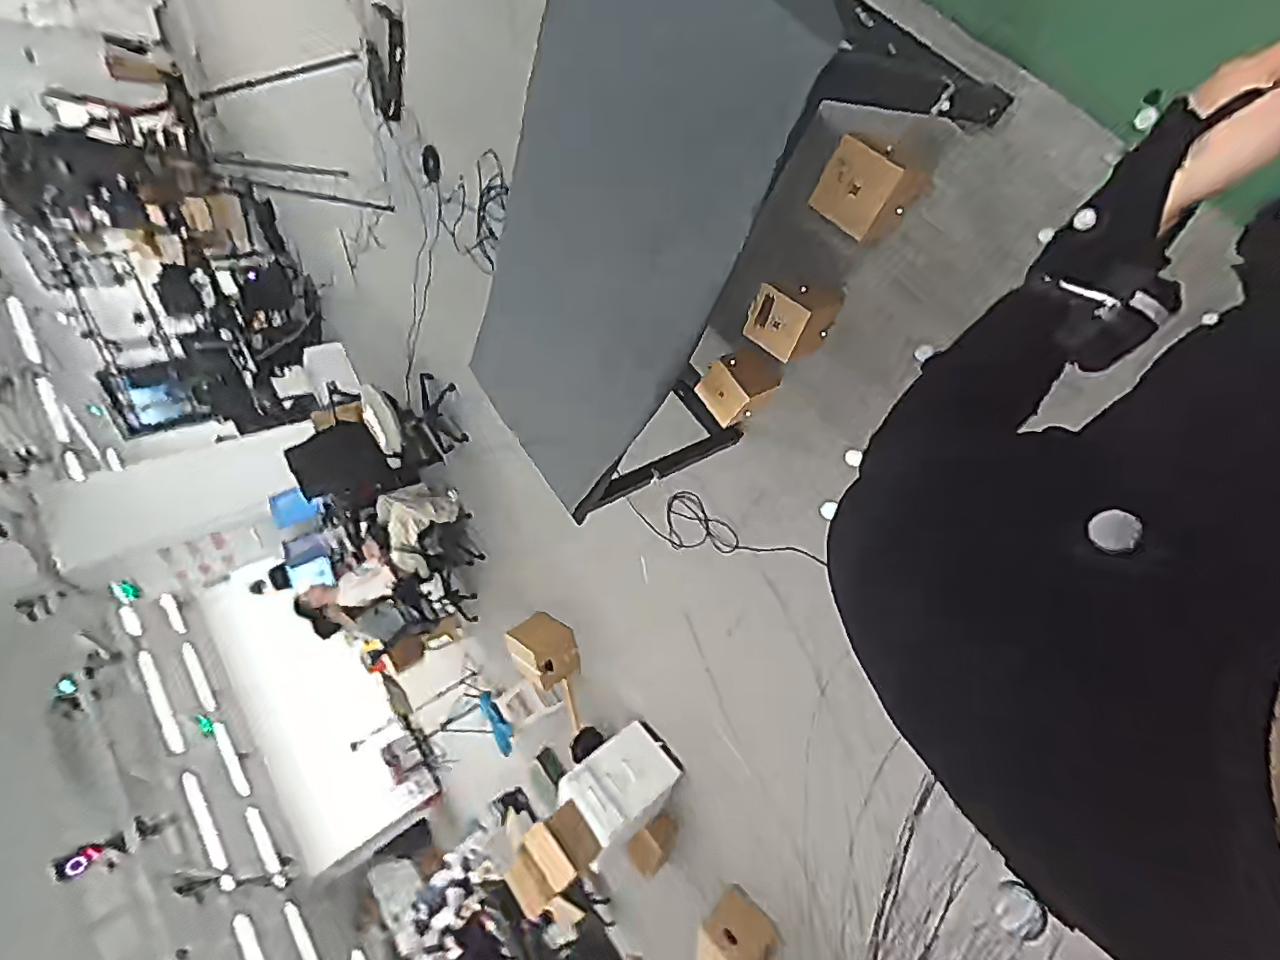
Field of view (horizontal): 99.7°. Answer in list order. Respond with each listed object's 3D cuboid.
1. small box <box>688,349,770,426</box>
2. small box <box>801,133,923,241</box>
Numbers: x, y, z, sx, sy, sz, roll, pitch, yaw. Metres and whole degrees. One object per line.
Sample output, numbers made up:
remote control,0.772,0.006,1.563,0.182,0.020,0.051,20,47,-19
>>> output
small box,0.299,-0.314,1.800,0.179,0.176,0.168,56,143,13
small box,0.532,-0.701,1.291,0.179,0.176,0.168,49,140,20
